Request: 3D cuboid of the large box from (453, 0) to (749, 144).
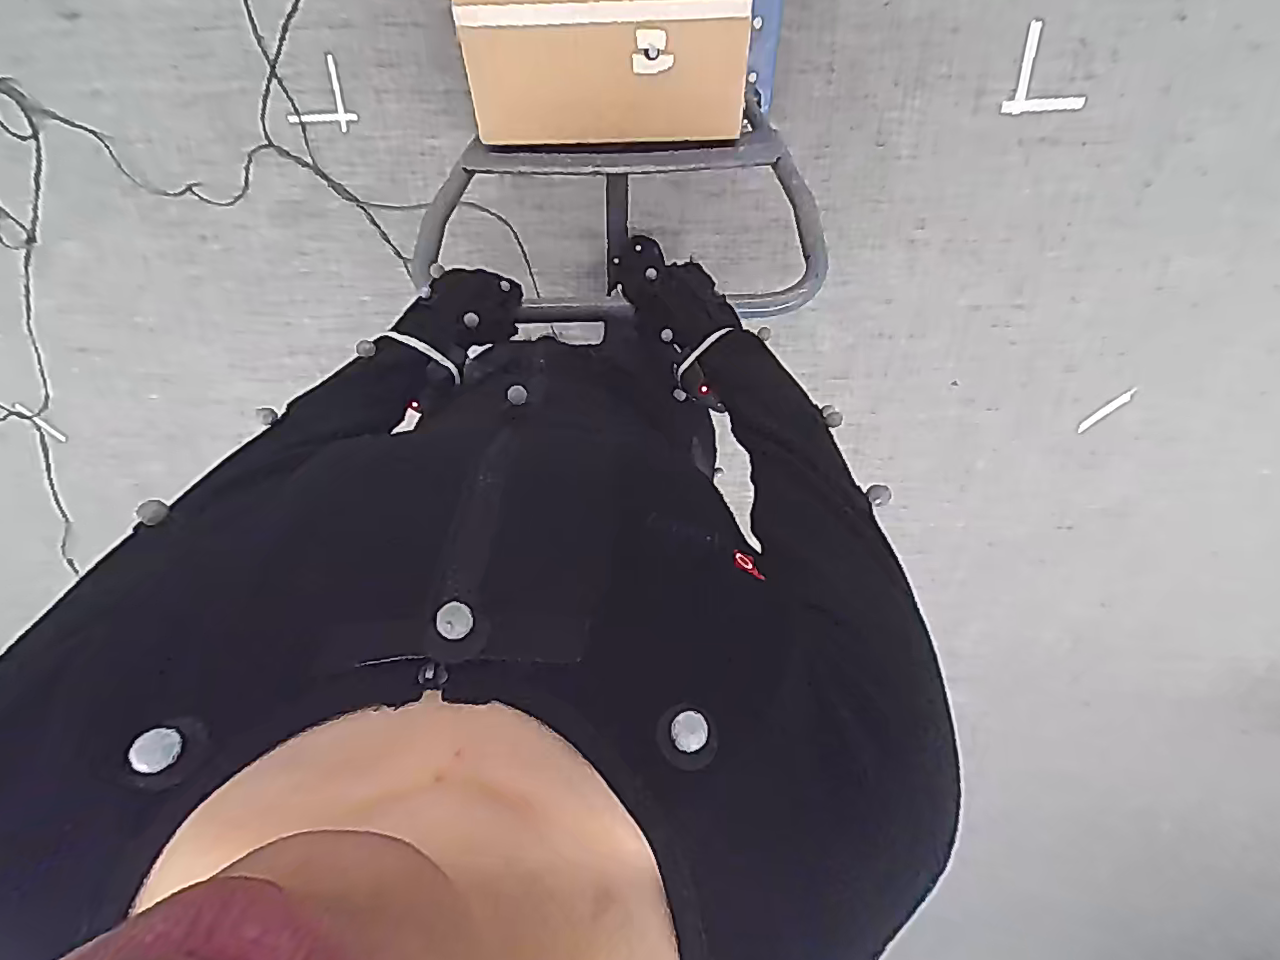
[{"bbox_3d":[-0.056,-0.740,0.830,0.408,0.320,0.320,-2,135,0],"label":"large box"}]
